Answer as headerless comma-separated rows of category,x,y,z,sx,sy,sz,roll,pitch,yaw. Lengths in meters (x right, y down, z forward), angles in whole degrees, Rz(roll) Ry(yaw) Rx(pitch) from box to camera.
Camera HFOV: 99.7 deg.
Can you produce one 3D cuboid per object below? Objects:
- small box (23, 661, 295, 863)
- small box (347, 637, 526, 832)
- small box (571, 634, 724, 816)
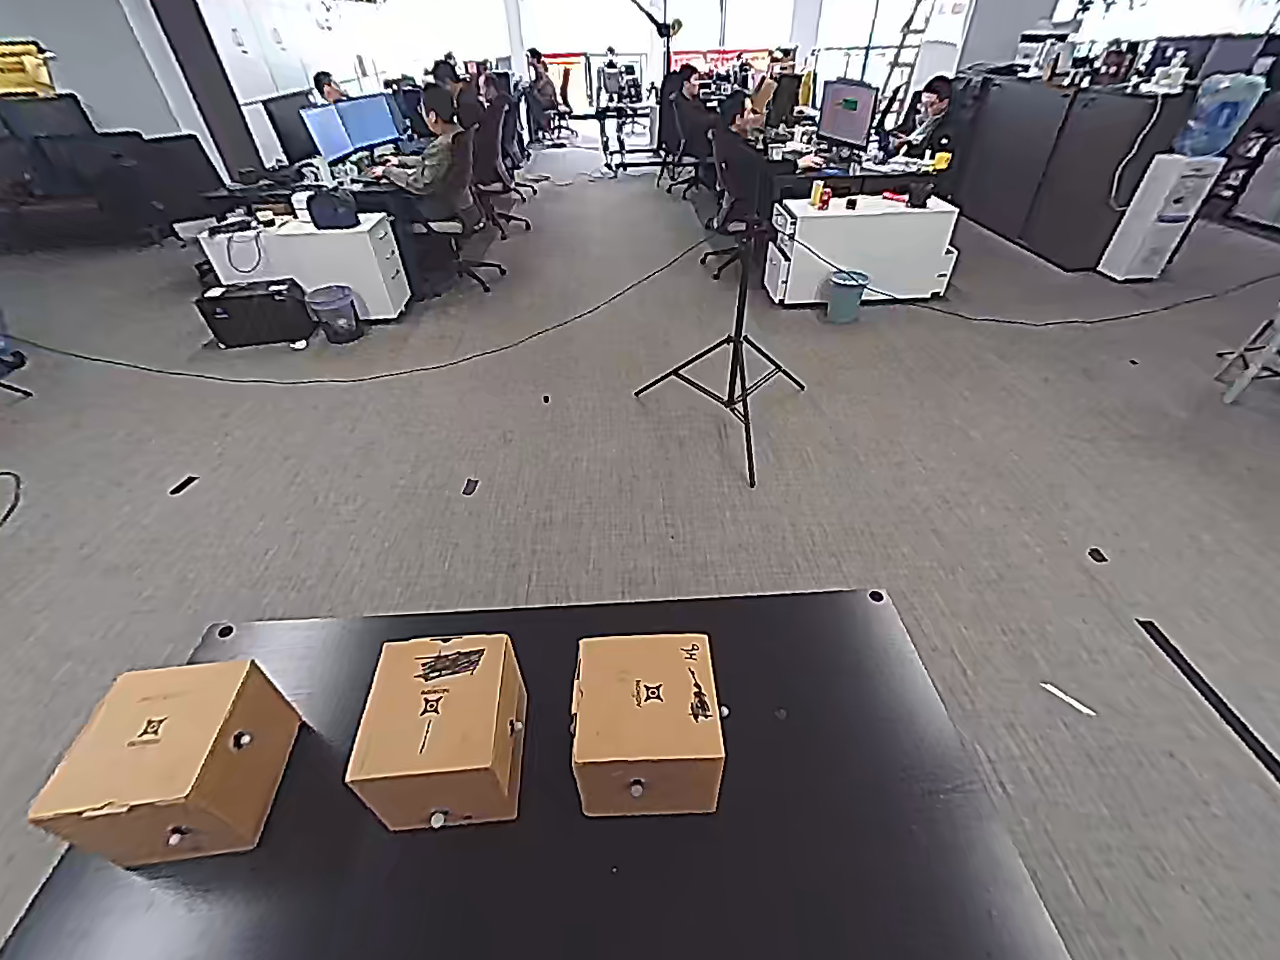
small box,-0.579,0.360,0.689,0.168,0.176,0.179,-4,39,-6
small box,-0.248,0.333,0.713,0.168,0.176,0.179,-4,41,-3
small box,0.011,0.325,0.715,0.179,0.176,0.168,-3,40,0
